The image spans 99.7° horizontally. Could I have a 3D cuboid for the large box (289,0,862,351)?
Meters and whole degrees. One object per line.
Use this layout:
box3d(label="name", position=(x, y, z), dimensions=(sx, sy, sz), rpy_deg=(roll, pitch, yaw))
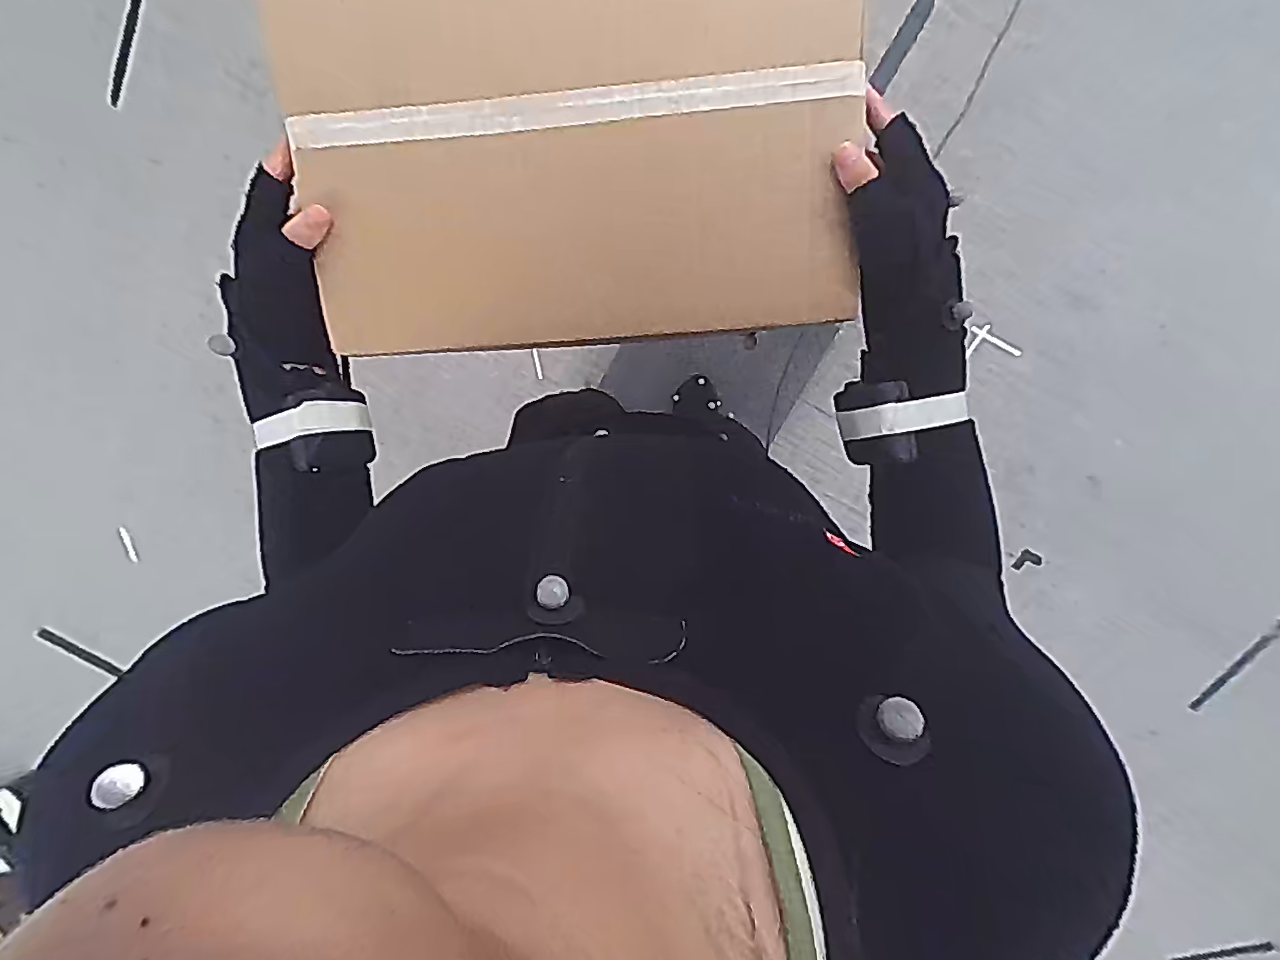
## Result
box3d(label="large box", position=(-0.036, -0.302, 0.533), dimensions=(0.408, 0.320, 0.320), rpy_deg=(-3, 104, 3))
